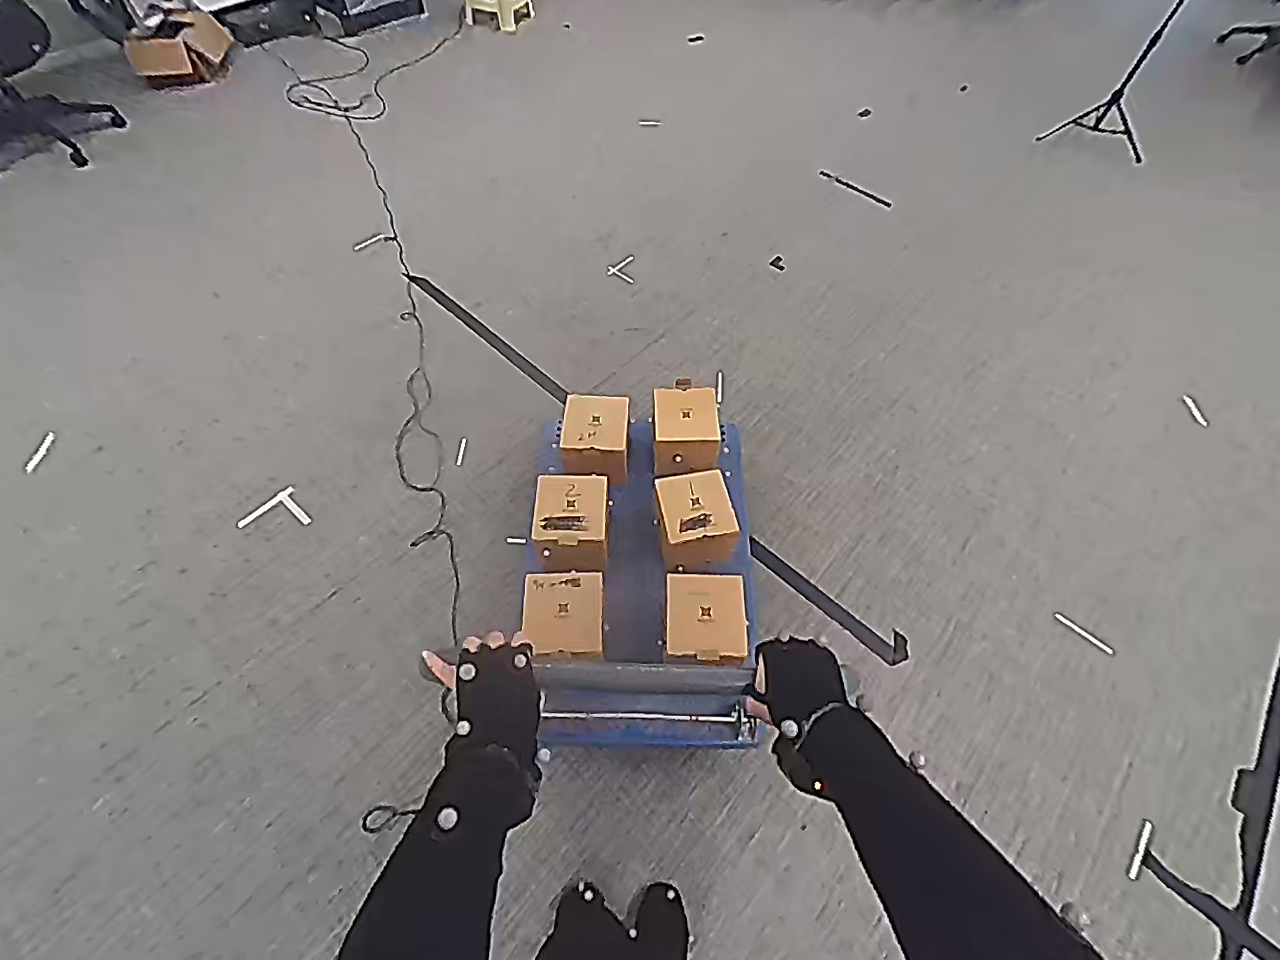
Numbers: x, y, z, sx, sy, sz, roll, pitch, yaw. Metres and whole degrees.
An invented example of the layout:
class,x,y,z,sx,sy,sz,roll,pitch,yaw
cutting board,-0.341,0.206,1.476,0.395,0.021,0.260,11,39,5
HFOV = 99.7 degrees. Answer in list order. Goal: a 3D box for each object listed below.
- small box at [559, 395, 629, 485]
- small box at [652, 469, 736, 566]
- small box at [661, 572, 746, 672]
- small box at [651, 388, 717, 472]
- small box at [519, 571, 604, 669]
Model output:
class,x,y,z,sx,sy,sz,roll,pitch,yaw
small box,-0.118,-0.106,1.456,0.168,0.176,0.179,3,59,1
small box,0.126,0.100,1.333,0.168,0.176,0.179,-9,58,-7
small box,0.134,0.319,1.197,0.168,0.176,0.179,2,57,-1
small box,0.115,-0.130,1.479,0.168,0.176,0.179,-1,58,-2
small box,-0.164,0.314,1.191,0.168,0.176,0.179,-1,58,-3
